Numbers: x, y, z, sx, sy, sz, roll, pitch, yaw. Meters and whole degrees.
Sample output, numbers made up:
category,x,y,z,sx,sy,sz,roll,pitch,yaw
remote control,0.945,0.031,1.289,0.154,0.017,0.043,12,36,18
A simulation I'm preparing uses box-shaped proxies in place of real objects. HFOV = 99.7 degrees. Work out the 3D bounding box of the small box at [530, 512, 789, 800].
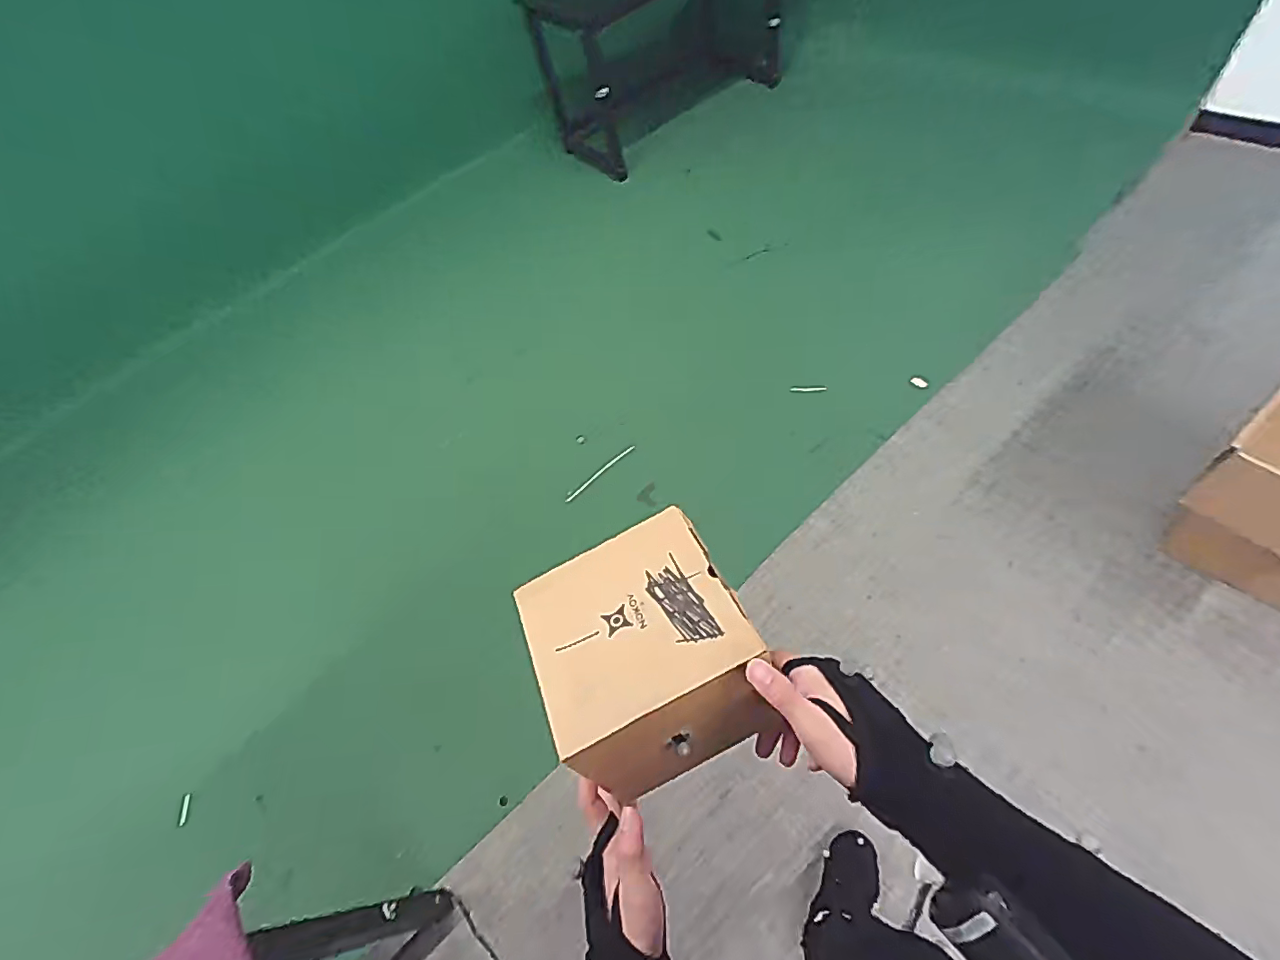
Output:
category,x,y,z,sx,sy,sz,roll,pitch,yaw
small box,0.024,0.167,0.507,0.179,0.176,0.168,-27,47,-3
